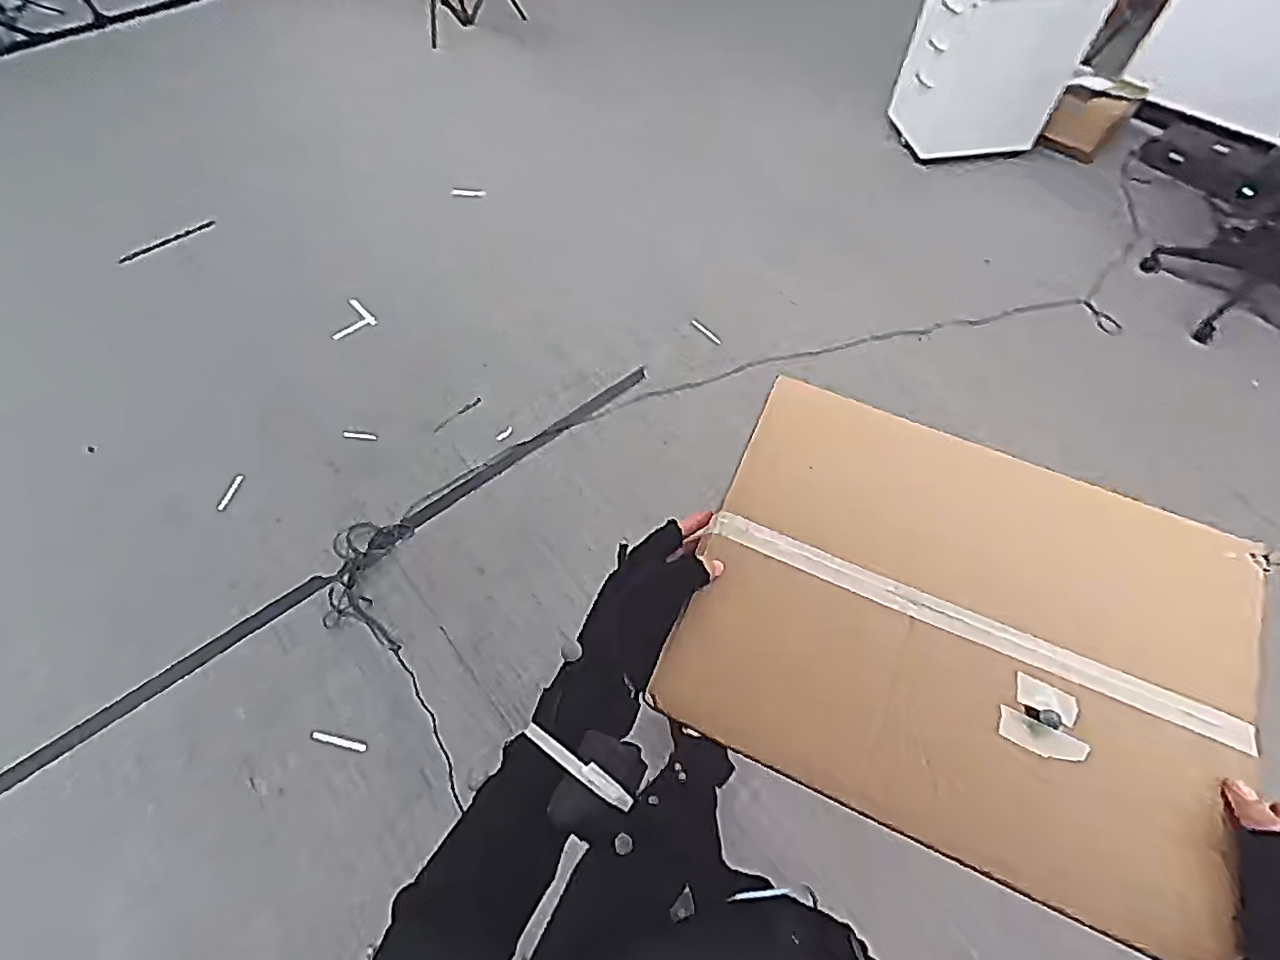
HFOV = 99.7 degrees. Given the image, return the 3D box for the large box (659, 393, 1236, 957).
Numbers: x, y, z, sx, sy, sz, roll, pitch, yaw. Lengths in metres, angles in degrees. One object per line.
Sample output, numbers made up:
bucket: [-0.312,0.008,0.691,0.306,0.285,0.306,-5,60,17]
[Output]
large box: [0.258,0.169,0.576,0.408,0.320,0.320,23,72,11]
